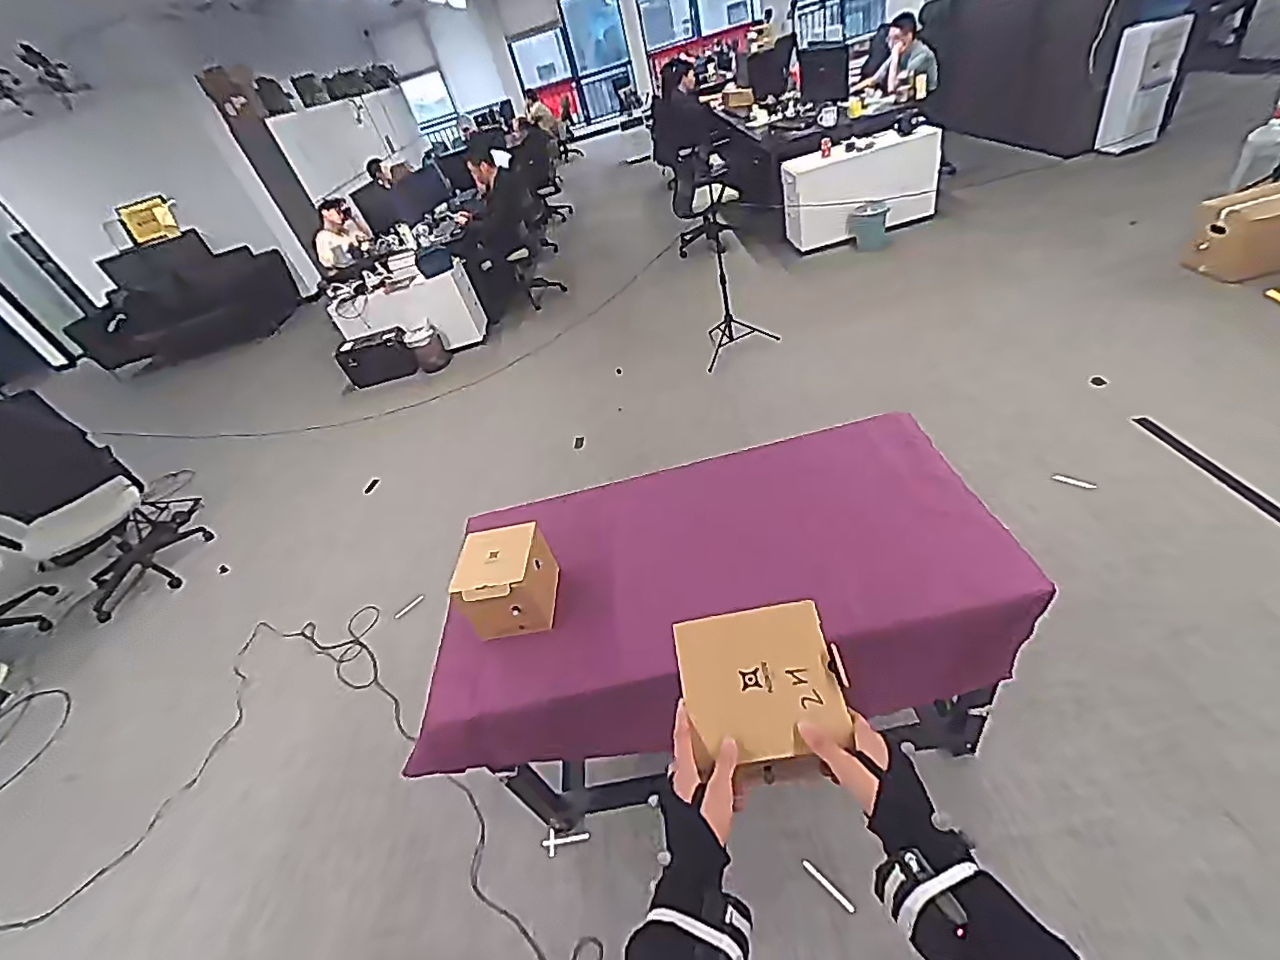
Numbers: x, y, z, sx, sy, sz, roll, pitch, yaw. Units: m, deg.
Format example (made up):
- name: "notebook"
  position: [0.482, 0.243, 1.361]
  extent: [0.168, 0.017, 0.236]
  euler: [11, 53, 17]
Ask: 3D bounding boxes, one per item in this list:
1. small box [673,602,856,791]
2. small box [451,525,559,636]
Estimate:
- name: "small box"
  position: [0.147, 0.274, 0.670]
  extent: [0.179, 0.176, 0.168]
  euler: [-11, 52, 5]
- name: "small box"
  position: [-0.289, 0.229, 1.199]
  extent: [0.168, 0.176, 0.179]
  euler: [-10, 39, 8]
